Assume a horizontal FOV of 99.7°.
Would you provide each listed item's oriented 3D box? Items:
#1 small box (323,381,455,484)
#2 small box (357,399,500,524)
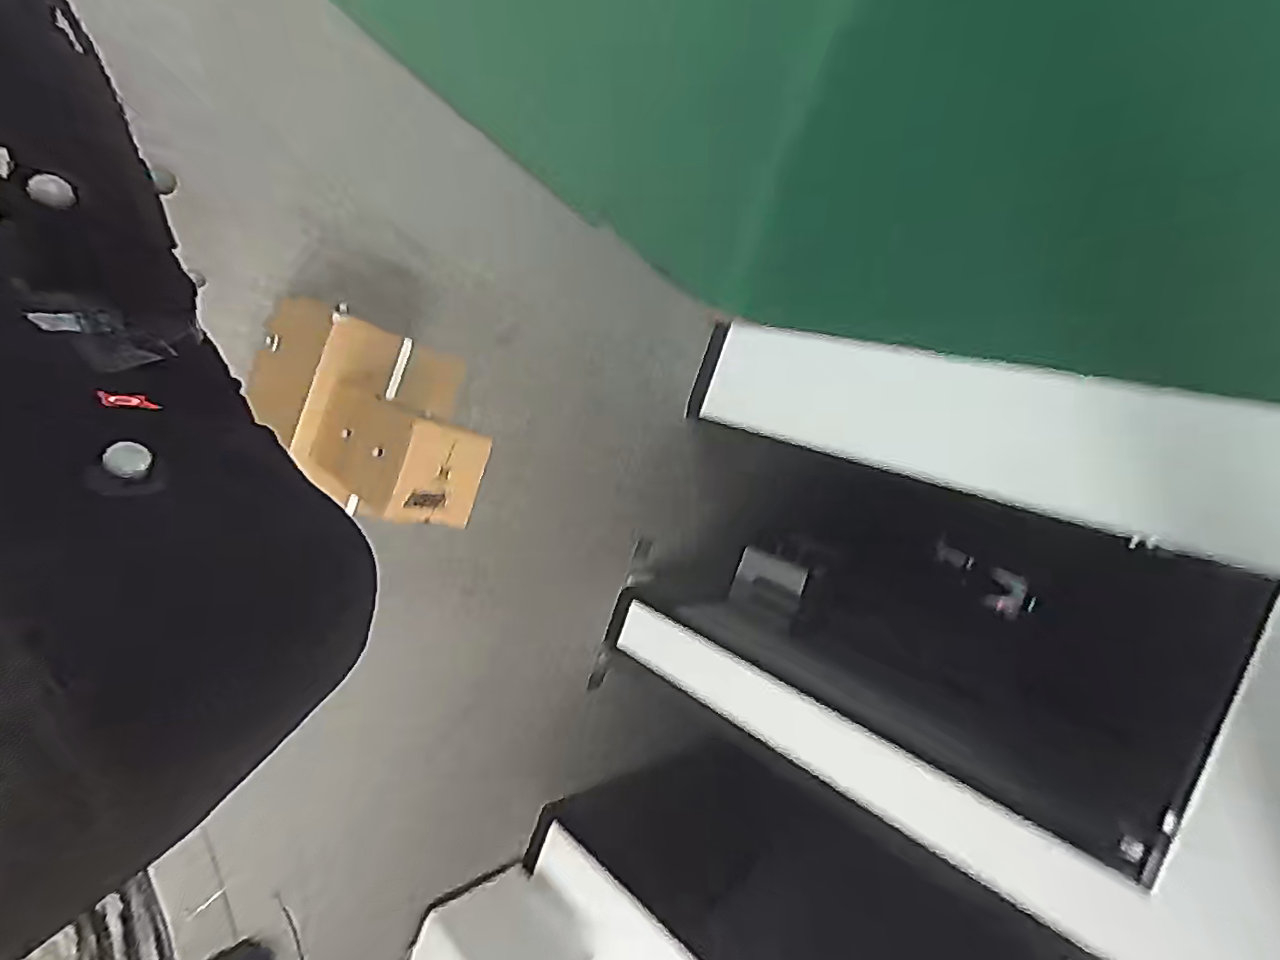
[{"bbox_3d":[-0.517,-0.088,1.108,0.168,0.176,0.179,16,96,-53],"label":"small box"},{"bbox_3d":[-0.398,-0.034,1.008,0.168,0.176,0.179,17,93,-53],"label":"small box"}]
